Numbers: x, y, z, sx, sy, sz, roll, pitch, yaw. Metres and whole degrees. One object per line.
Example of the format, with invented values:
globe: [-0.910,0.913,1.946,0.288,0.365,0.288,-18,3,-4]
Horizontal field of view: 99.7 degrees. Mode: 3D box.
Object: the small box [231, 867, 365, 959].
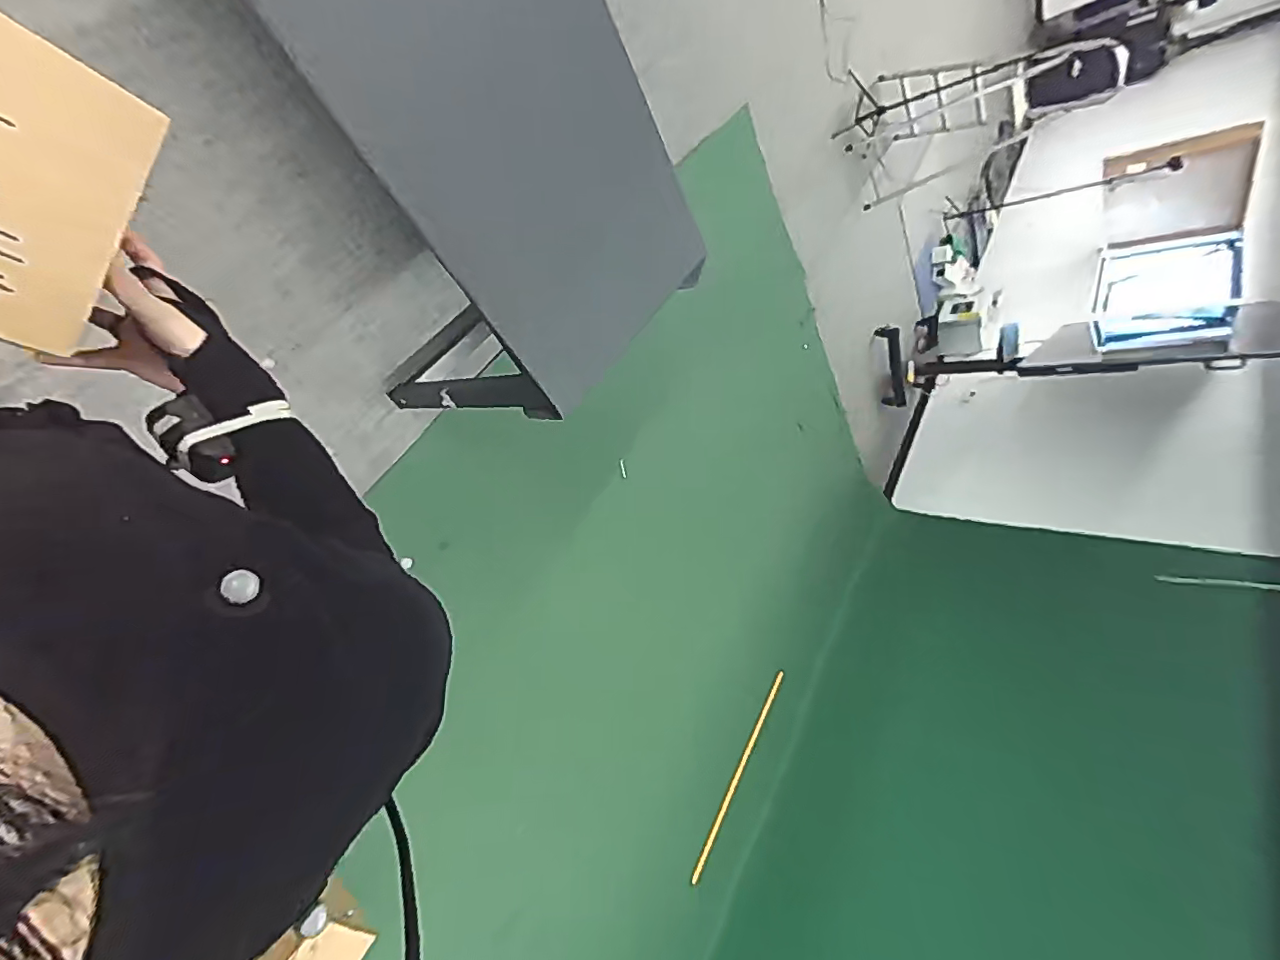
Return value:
small box: [-0.785,1.037,1.242,0.168,0.176,0.179,-53,131,-29]
